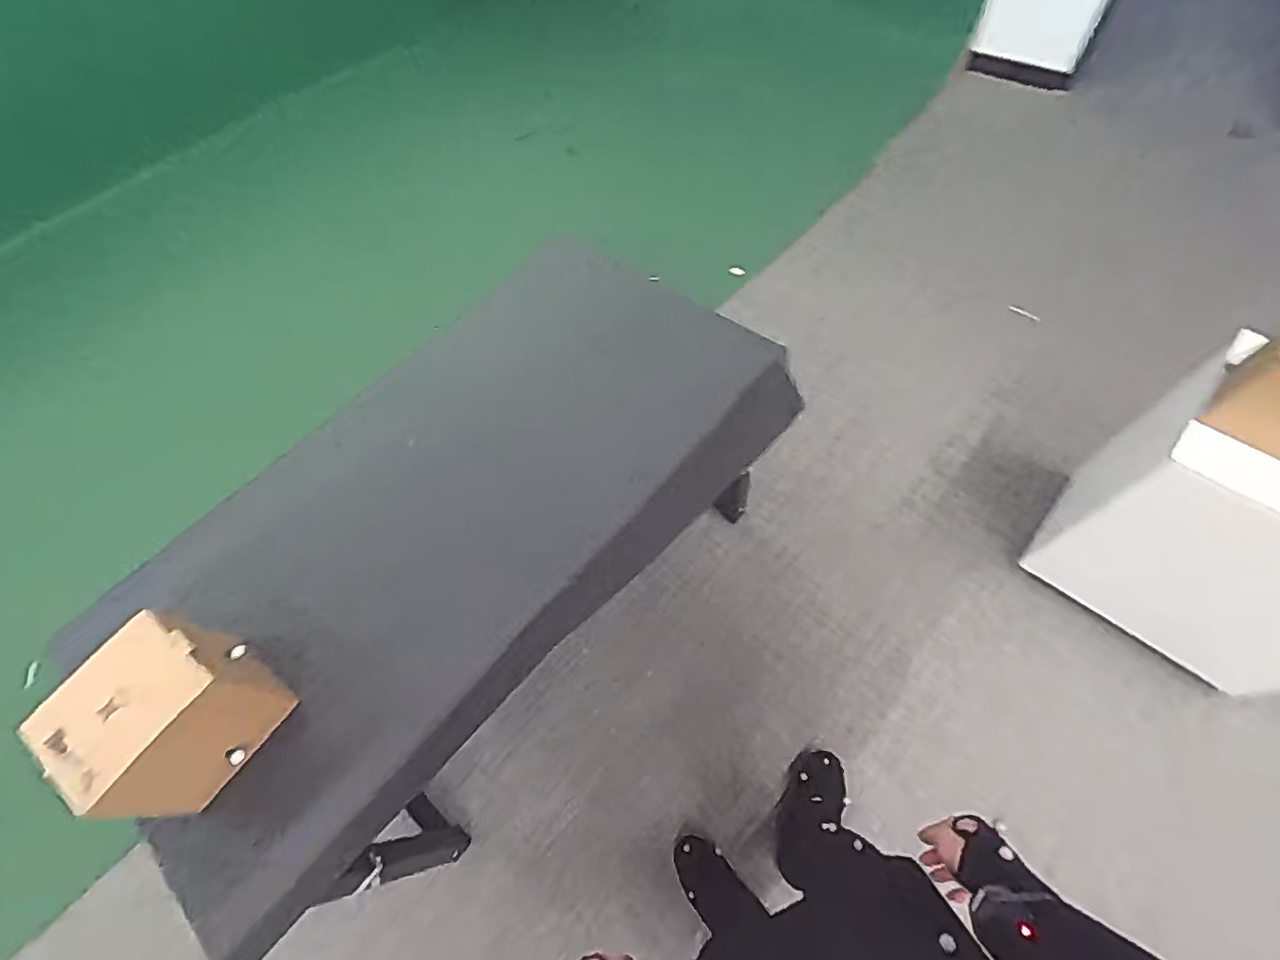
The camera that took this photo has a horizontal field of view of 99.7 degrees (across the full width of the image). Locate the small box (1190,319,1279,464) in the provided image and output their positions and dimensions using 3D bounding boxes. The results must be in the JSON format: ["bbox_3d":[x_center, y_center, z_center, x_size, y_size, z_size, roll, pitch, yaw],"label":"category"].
[{"bbox_3d":[1.142,-0.156,0.947,0.179,0.176,0.168,38,71,20],"label":"small box"}]

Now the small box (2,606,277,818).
[{"bbox_3d":[-0.618,0.299,0.700,0.168,0.176,0.179,29,66,19],"label":"small box"}]
